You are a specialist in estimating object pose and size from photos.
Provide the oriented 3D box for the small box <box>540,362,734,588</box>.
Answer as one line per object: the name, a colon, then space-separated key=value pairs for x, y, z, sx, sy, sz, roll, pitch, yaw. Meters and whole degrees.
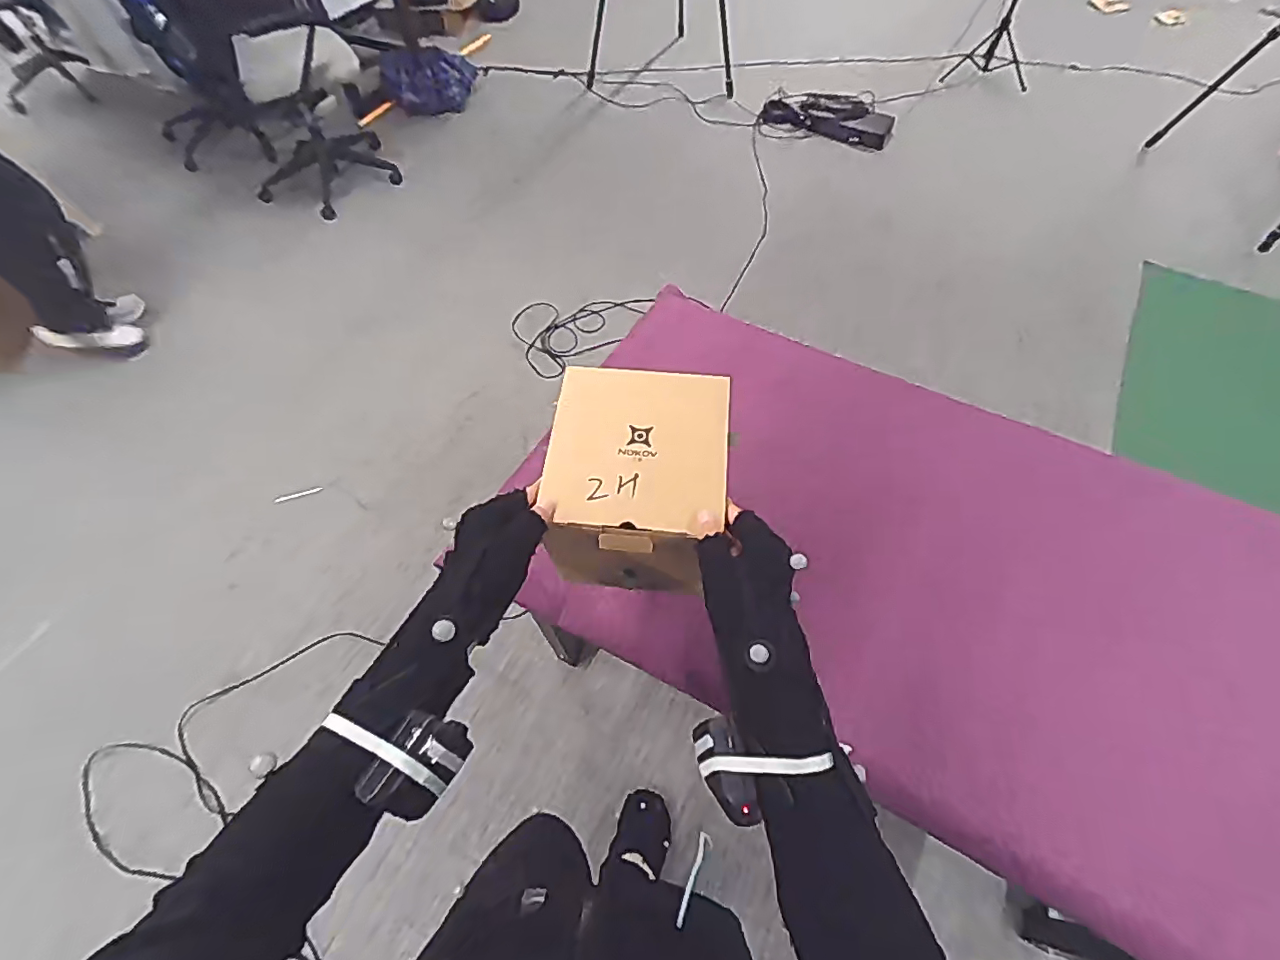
small box: x=0.004 y=0.000 z=0.575 sx=0.168 sy=0.176 sz=0.179 roll=5 pitch=63 yaw=5
